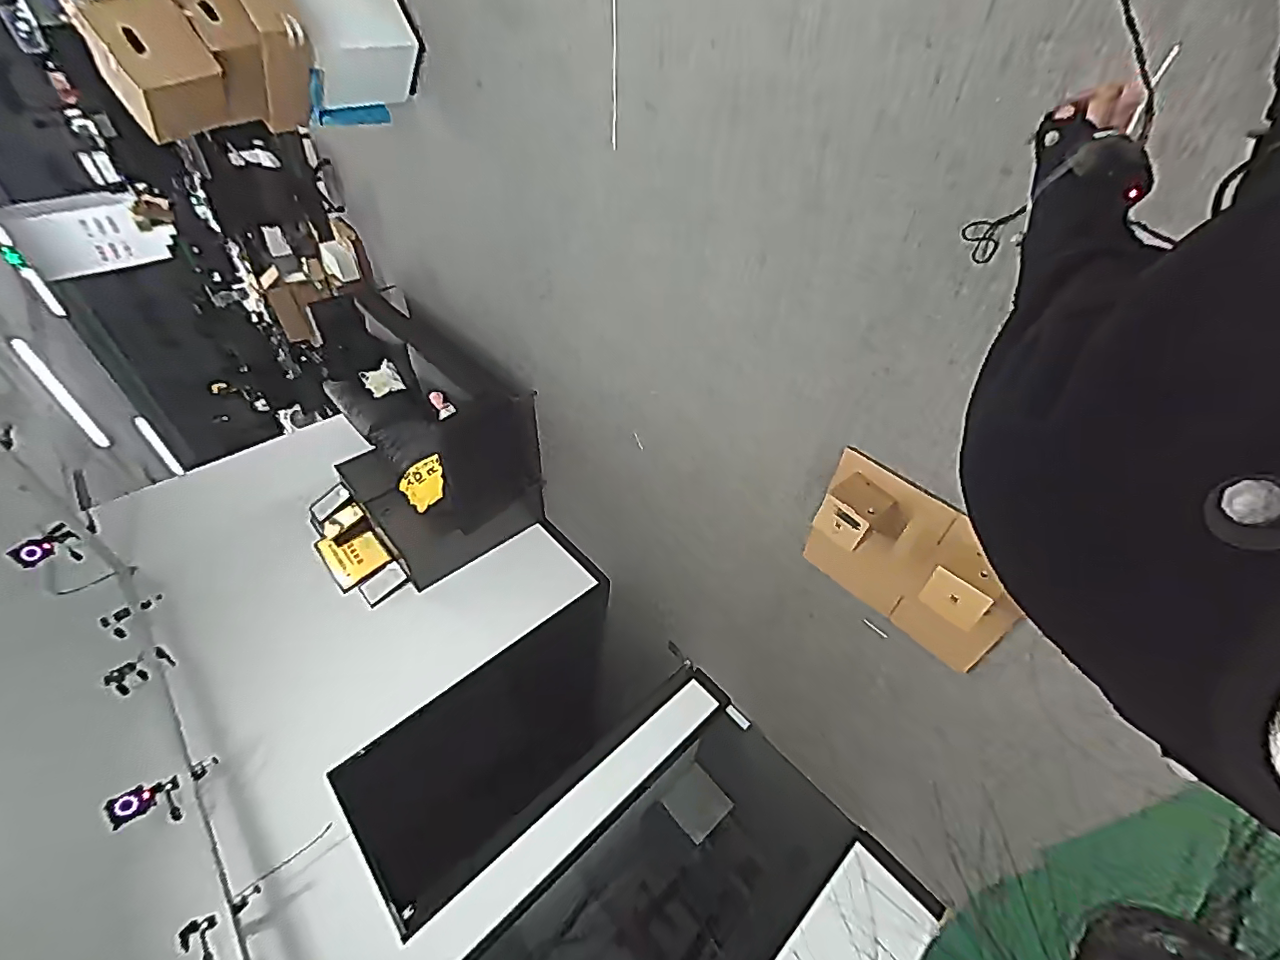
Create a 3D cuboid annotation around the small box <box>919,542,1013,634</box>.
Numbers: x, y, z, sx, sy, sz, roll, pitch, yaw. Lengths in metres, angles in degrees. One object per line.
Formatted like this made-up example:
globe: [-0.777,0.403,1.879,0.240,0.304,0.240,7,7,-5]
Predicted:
small box: [0.991,0.320,1.639,0.168,0.176,0.179,37,144,32]
